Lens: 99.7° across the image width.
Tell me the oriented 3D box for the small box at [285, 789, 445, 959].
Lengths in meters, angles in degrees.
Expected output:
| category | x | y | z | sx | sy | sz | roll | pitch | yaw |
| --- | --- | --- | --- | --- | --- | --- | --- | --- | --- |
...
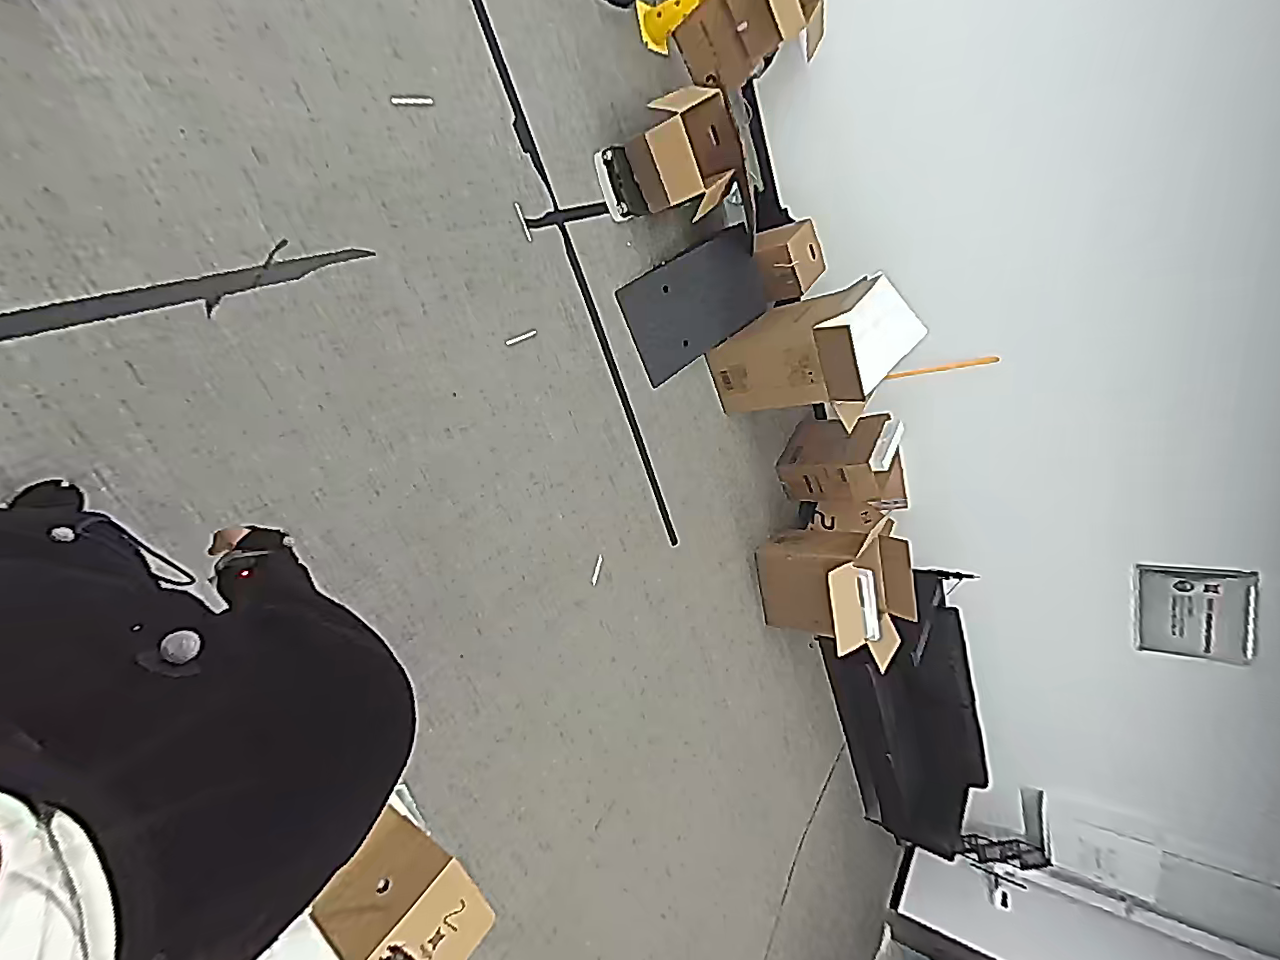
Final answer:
| category | x | y | z | sx | sy | sz | roll | pitch | yaw |
| --- | --- | --- | --- | --- | --- | --- | --- | --- | --- |
| small box | -0.498 | 0.697 | 0.978 | 0.168 | 0.176 | 0.179 | -40 | 119 | -41 |
